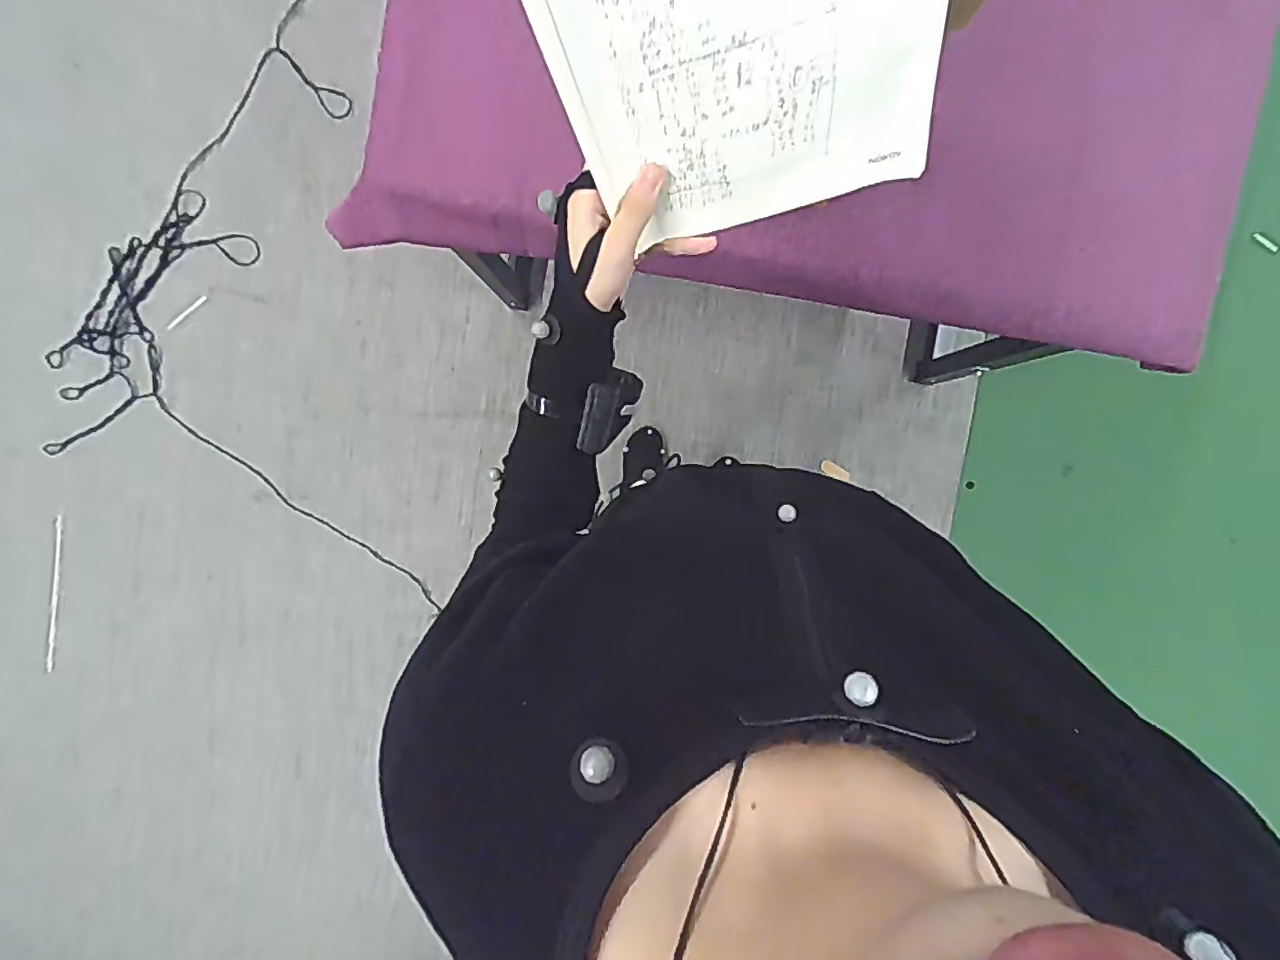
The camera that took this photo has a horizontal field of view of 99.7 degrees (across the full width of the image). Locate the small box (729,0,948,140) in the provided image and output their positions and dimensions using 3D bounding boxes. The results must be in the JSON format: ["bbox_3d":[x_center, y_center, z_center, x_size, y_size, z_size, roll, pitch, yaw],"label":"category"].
[{"bbox_3d":[0.186,-0.466,0.516,0.168,0.176,0.179,11,91,1],"label":"small box"}]
